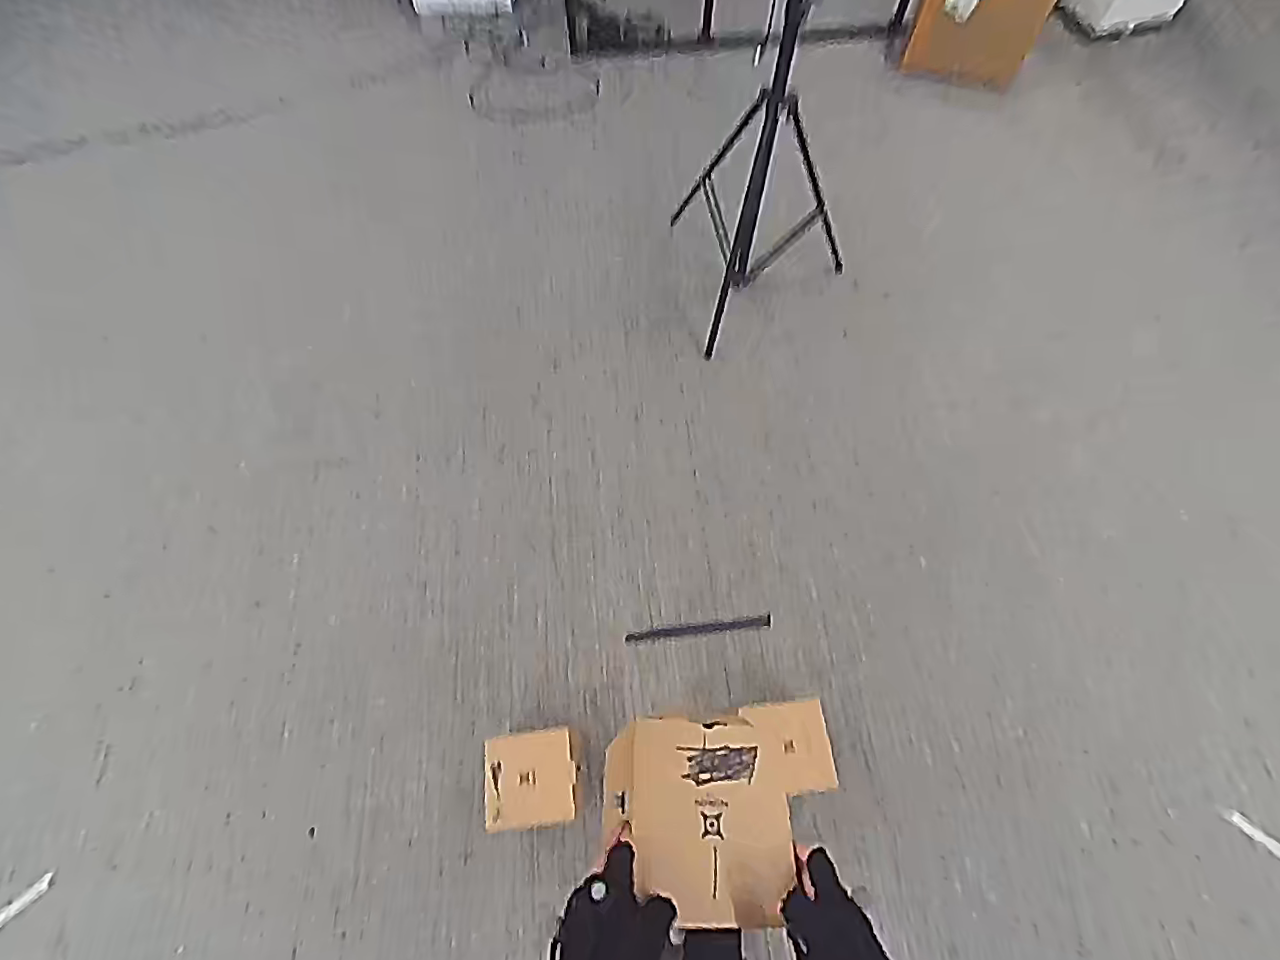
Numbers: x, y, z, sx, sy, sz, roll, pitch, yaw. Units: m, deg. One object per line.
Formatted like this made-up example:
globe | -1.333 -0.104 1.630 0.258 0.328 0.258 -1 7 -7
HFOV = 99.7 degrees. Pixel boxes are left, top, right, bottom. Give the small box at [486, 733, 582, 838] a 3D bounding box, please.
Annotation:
small box | -0.216 0.633 1.139 0.179 0.176 0.168 -7 65 -2

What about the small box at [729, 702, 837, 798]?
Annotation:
small box | 0.293 0.576 1.157 0.179 0.176 0.168 -6 67 -3

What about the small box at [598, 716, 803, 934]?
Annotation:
small box | 0.052 0.375 0.588 0.168 0.176 0.179 9 52 -10
